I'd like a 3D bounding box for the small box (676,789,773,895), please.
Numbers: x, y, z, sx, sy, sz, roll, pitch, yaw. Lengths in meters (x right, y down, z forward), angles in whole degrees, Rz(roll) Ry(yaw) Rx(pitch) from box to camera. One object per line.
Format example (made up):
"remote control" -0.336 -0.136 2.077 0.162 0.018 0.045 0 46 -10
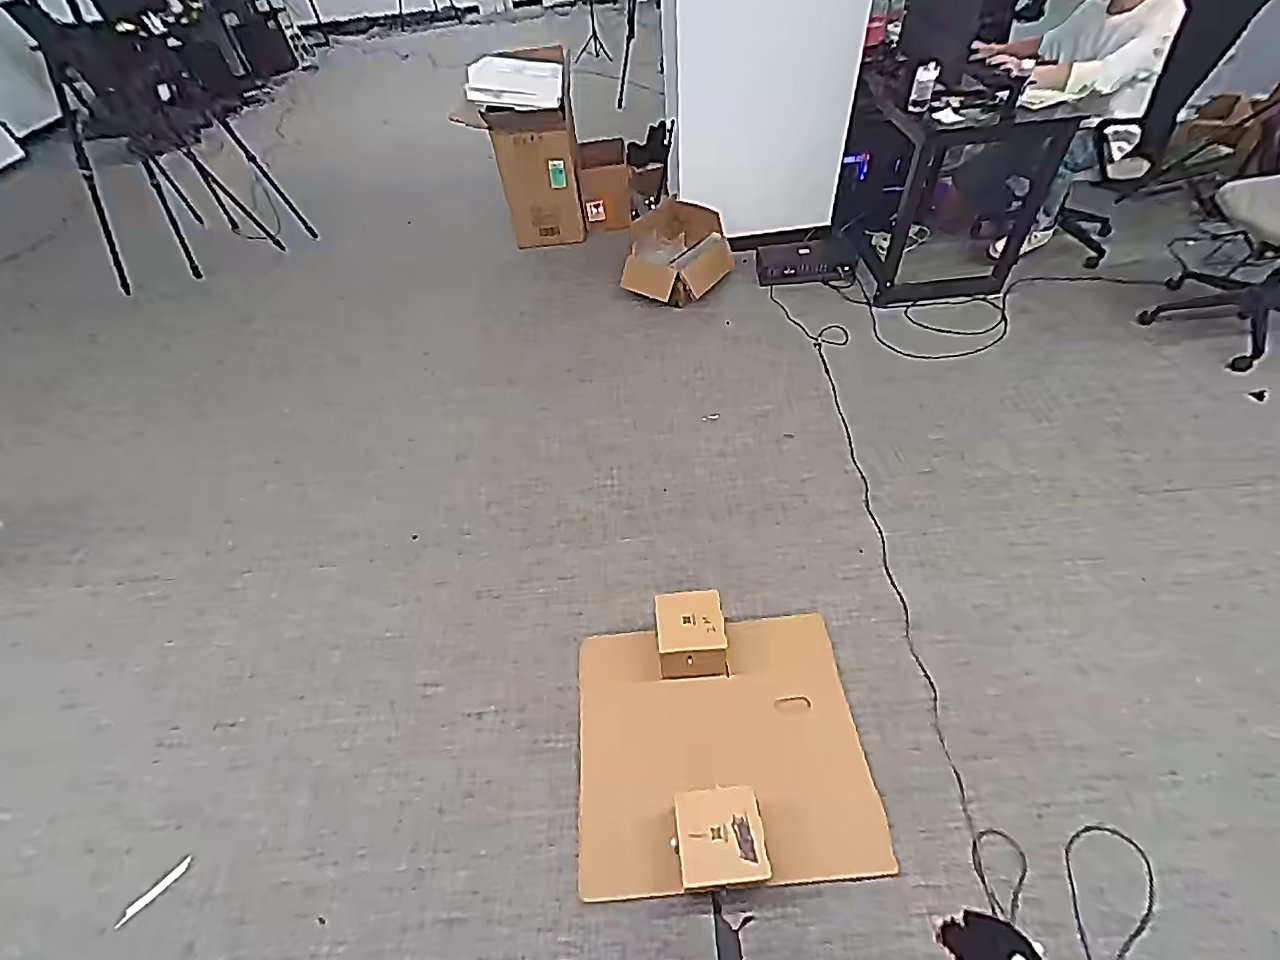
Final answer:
"small box" 0.172 0.775 1.155 0.179 0.176 0.168 -7 49 0

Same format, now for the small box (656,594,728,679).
"small box" 0.137 0.427 1.458 0.179 0.176 0.168 -4 49 1
